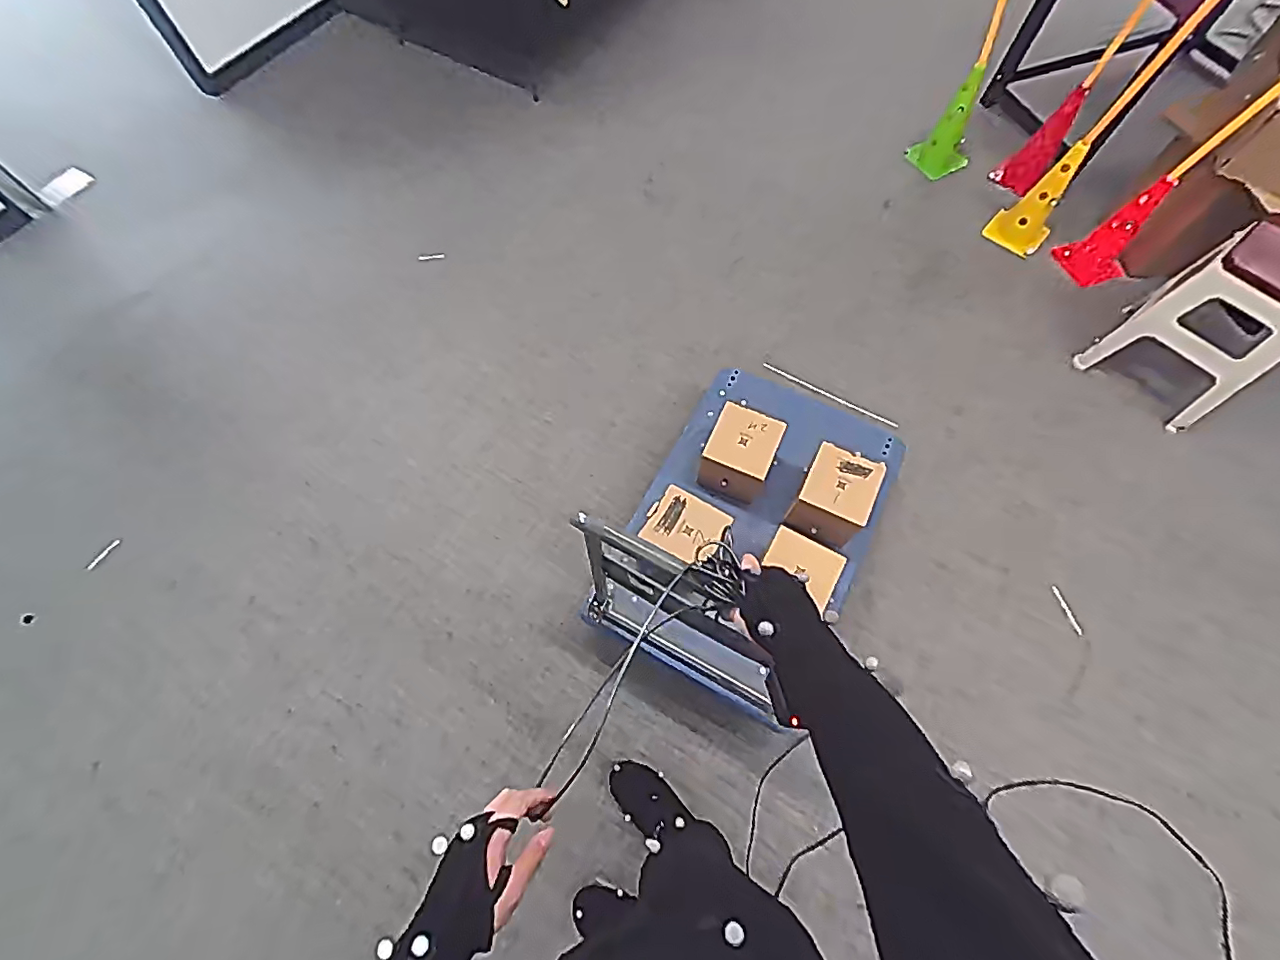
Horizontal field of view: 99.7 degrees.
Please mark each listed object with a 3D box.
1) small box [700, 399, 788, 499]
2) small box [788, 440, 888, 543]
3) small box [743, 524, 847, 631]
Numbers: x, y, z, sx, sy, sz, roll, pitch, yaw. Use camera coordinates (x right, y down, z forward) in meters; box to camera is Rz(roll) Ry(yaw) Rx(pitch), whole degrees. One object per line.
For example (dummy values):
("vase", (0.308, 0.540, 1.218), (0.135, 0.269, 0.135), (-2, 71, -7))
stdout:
("small box", (0.265, -0.075, 1.418), (0.168, 0.176, 0.179), (24, 69, 10))
("small box", (0.492, 0.034, 1.368), (0.168, 0.176, 0.179), (25, 70, 12))
("small box", (0.359, 0.237, 1.284), (0.168, 0.176, 0.179), (28, 71, 12))
